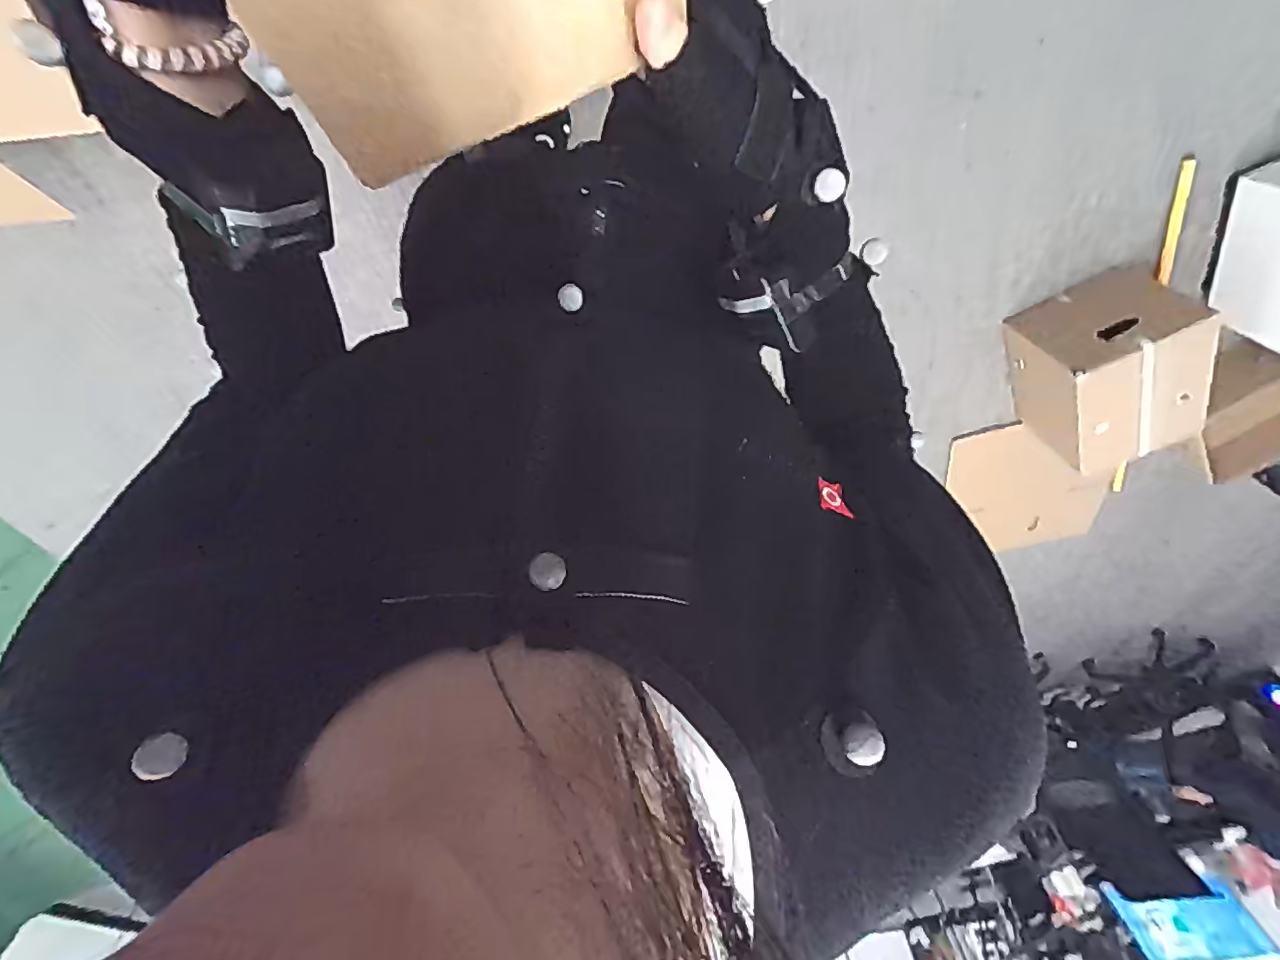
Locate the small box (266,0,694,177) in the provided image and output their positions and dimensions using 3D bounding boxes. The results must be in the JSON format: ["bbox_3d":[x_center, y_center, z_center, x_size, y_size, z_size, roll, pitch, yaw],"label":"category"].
[{"bbox_3d":[-0.091,-0.269,0.199,0.168,0.176,0.179,-26,163,-2],"label":"small box"}]
